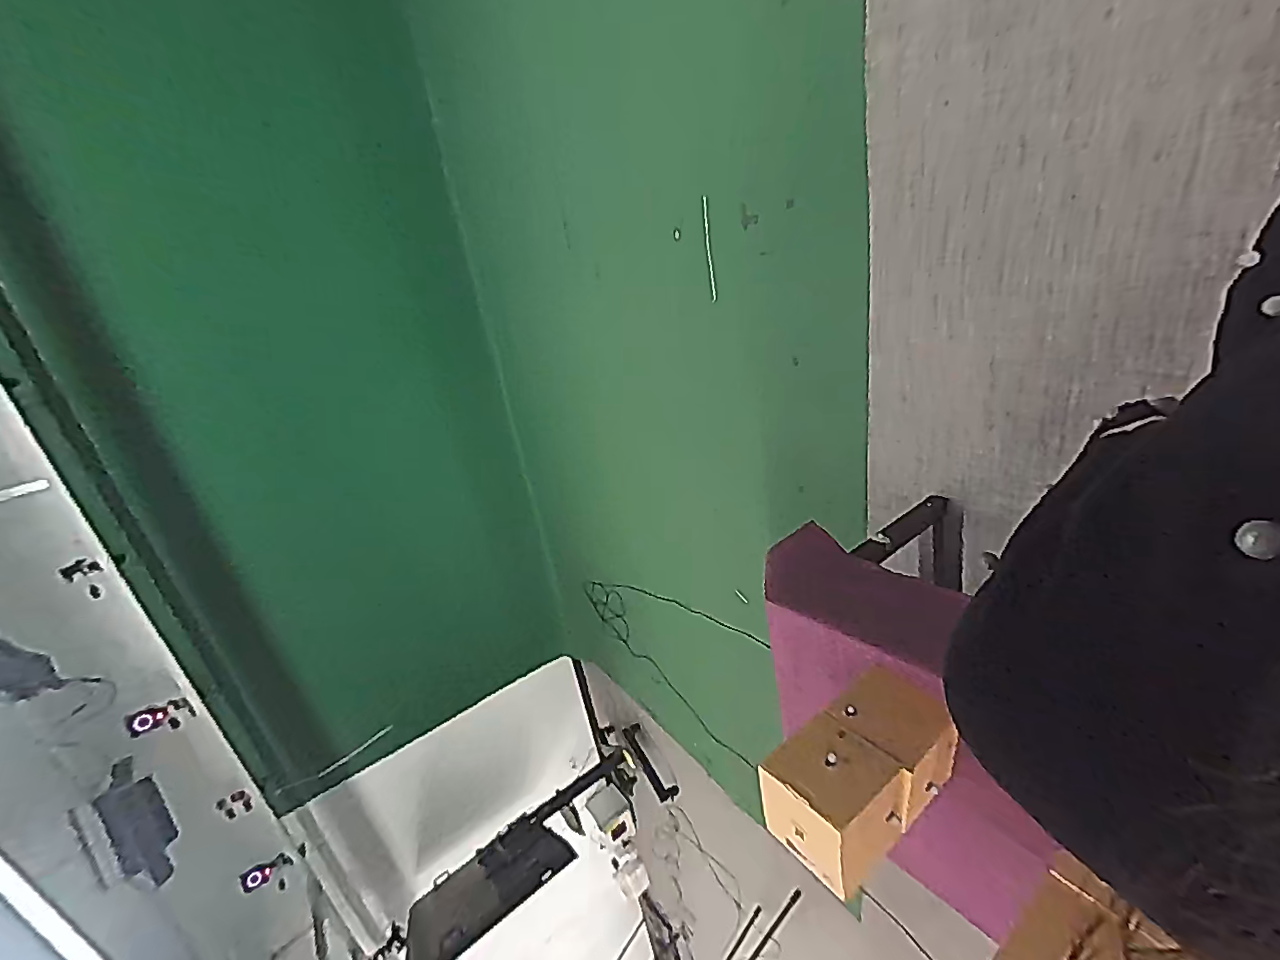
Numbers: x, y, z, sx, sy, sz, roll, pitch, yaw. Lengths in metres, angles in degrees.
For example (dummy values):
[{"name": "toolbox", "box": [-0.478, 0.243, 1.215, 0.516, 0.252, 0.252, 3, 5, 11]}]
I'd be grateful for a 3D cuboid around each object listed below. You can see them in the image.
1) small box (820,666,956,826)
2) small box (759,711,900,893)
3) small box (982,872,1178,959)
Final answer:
[{"name": "small box", "box": [0.463, 0.488, 1.020, 0.179, 0.176, 0.168, 26, 132, 49]}, {"name": "small box", "box": [0.330, 0.545, 0.942, 0.168, 0.176, 0.179, 22, 128, 52]}, {"name": "small box", "box": [0.545, 0.643, 0.659, 0.179, 0.176, 0.168, 18, 126, 54]}]
